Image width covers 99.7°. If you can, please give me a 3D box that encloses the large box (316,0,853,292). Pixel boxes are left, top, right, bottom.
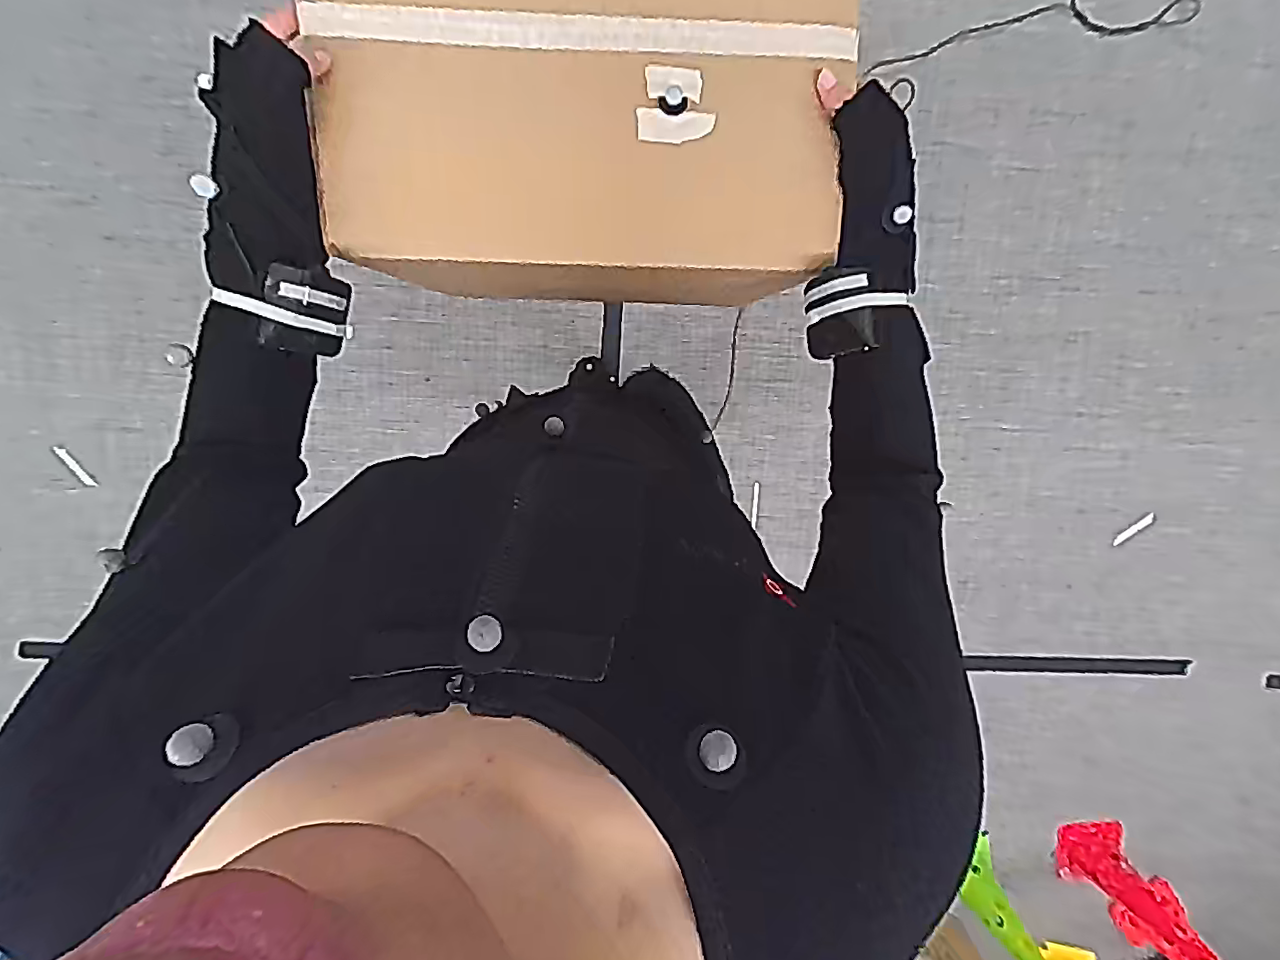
[{"bbox_3d":[-0.046,-0.370,0.547,0.408,0.320,0.320,1,104,-3],"label":"large box"}]
